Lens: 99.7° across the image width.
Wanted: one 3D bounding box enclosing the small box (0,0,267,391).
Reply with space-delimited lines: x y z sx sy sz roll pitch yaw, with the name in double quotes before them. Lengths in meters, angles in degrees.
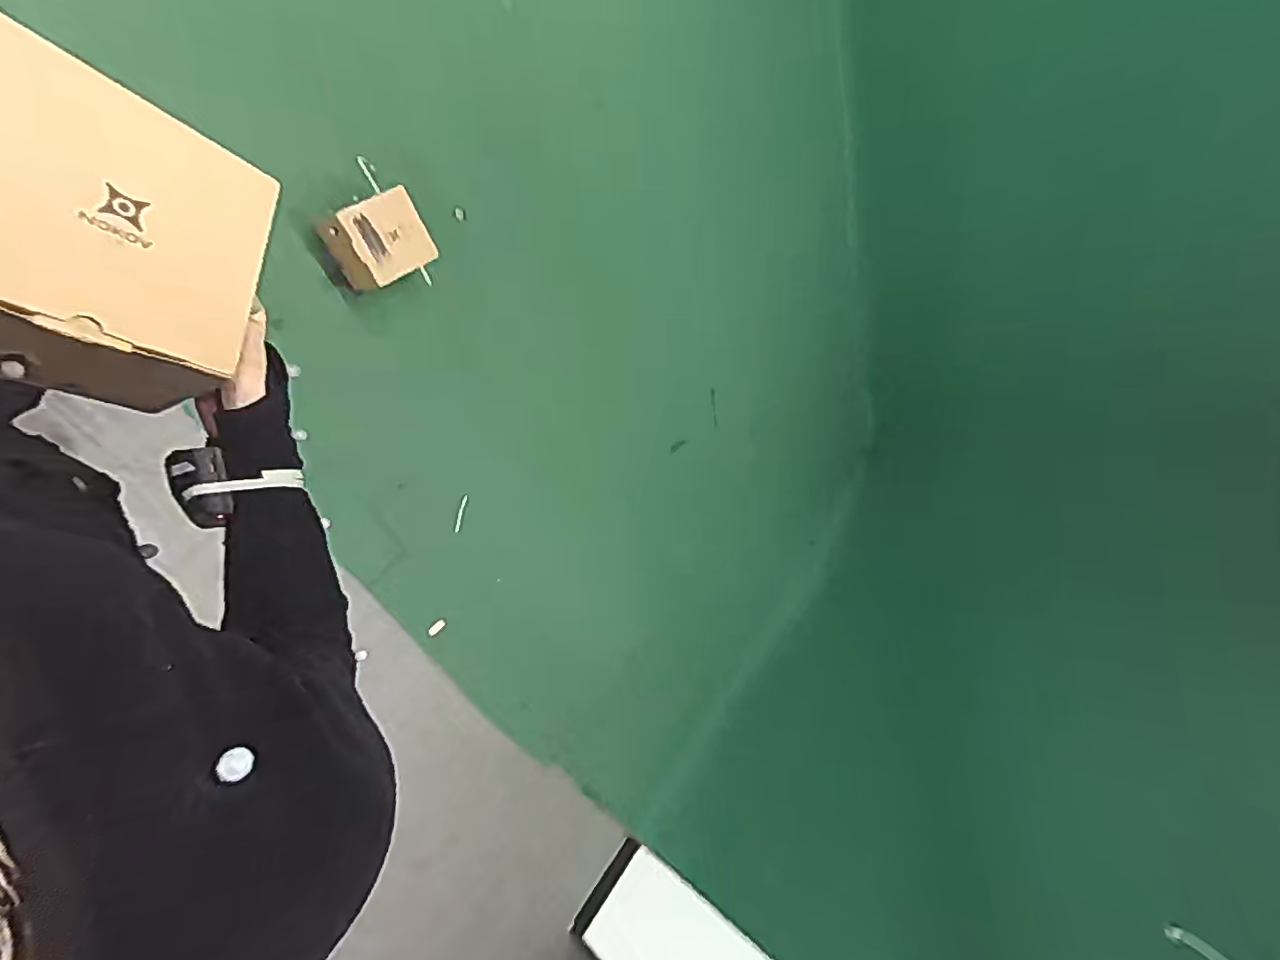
"small box" -0.411 -0.181 0.388 0.168 0.176 0.179 21 69 -55
